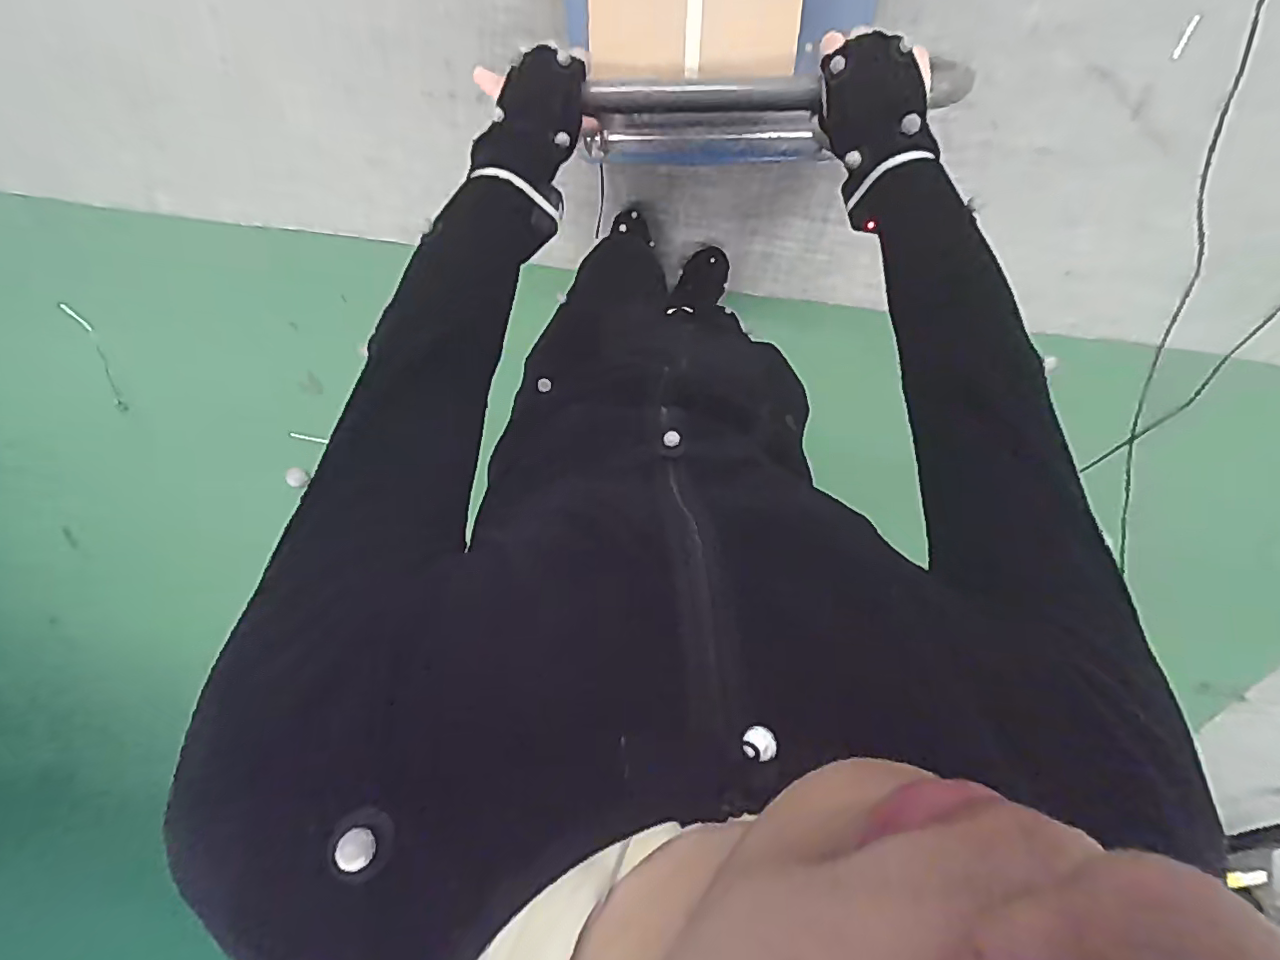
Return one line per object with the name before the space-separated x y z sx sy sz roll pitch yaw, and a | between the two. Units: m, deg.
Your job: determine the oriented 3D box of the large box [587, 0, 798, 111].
large box | 0.092 -0.862 0.884 0.320 0.320 0.408 3 119 5
